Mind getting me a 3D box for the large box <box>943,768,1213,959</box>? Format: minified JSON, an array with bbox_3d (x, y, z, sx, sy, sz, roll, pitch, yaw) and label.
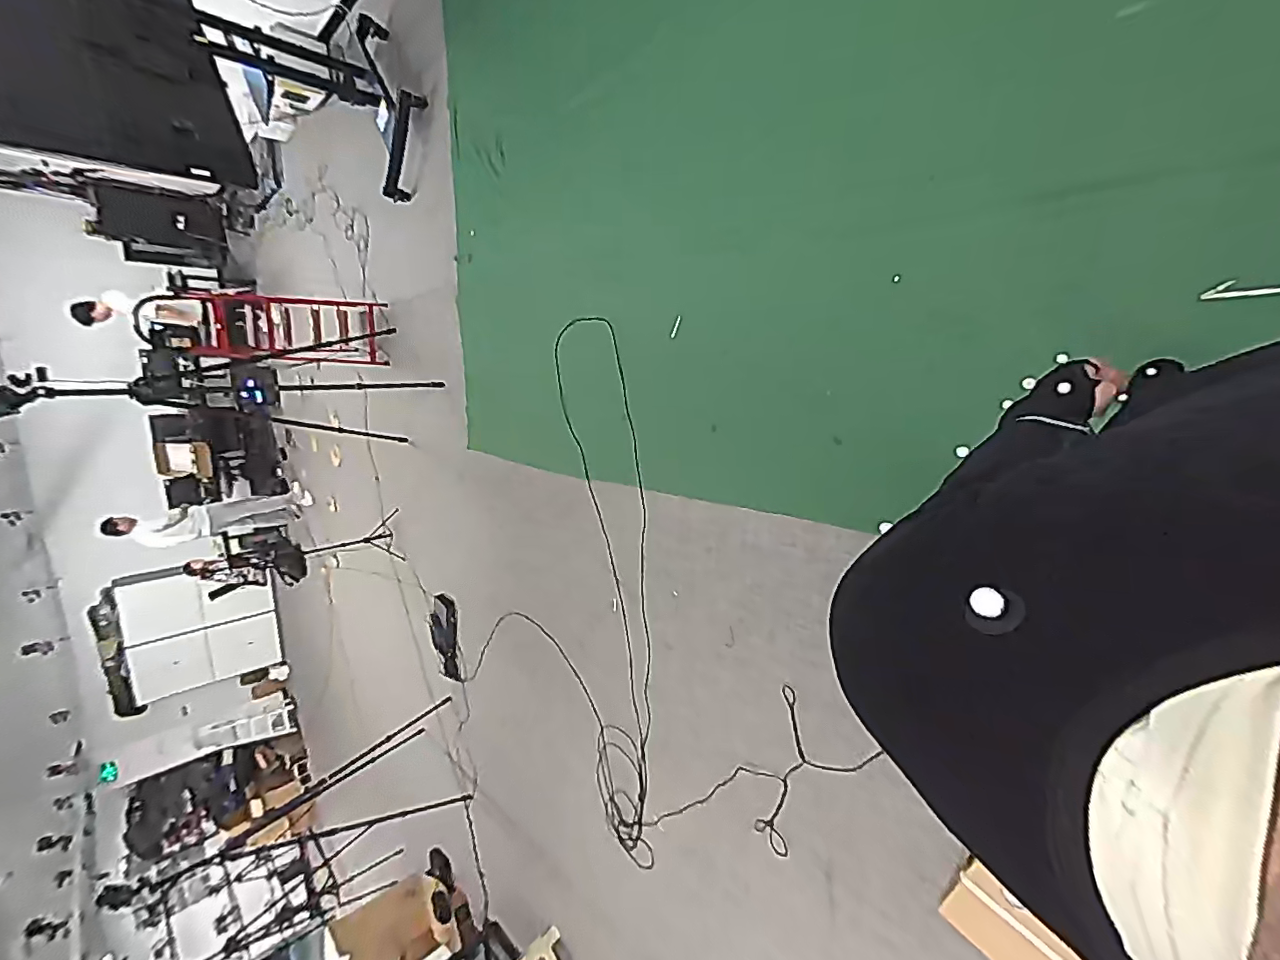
[{"bbox_3d":[1.055,1.026,1.333,0.408,0.320,0.320,33,120,36],"label":"large box"}]
